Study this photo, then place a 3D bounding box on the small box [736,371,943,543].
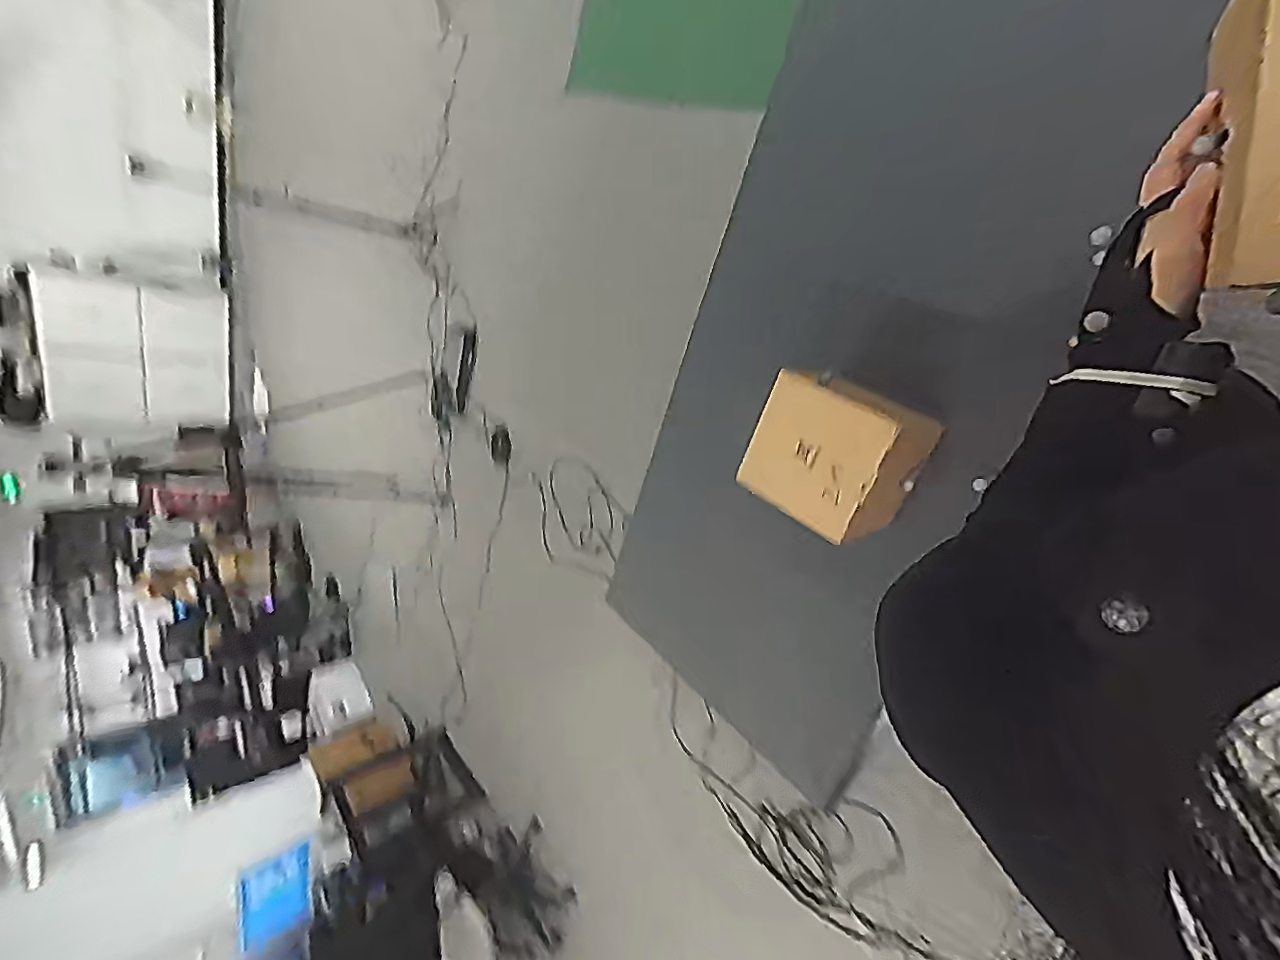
[{"bbox_3d":[0.271,-0.036,0.740,0.179,0.176,0.168,36,119,37],"label":"small box"}]
